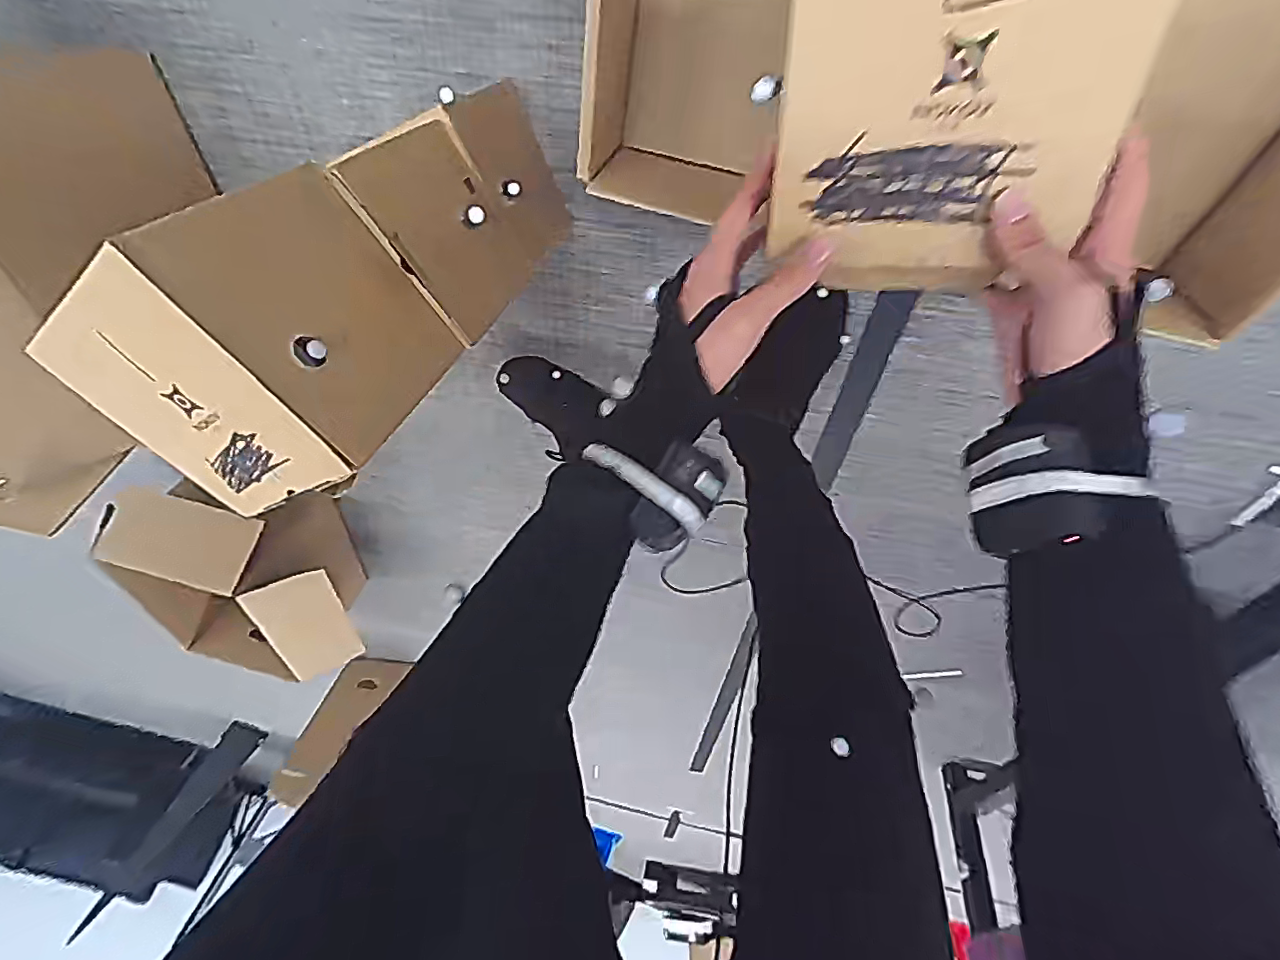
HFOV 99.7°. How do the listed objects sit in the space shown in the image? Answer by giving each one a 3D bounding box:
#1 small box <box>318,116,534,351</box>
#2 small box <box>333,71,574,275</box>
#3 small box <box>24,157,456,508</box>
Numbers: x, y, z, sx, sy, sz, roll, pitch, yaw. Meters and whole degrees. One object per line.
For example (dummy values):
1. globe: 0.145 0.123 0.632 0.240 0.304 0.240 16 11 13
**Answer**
1. small box: -0.237 -0.218 0.533 0.179 0.176 0.168 -15 127 29
2. small box: -0.200 -0.341 0.637 0.168 0.176 0.179 -7 130 24
3. small box: -0.281 -0.108 0.418 0.168 0.176 0.179 -15 126 30
